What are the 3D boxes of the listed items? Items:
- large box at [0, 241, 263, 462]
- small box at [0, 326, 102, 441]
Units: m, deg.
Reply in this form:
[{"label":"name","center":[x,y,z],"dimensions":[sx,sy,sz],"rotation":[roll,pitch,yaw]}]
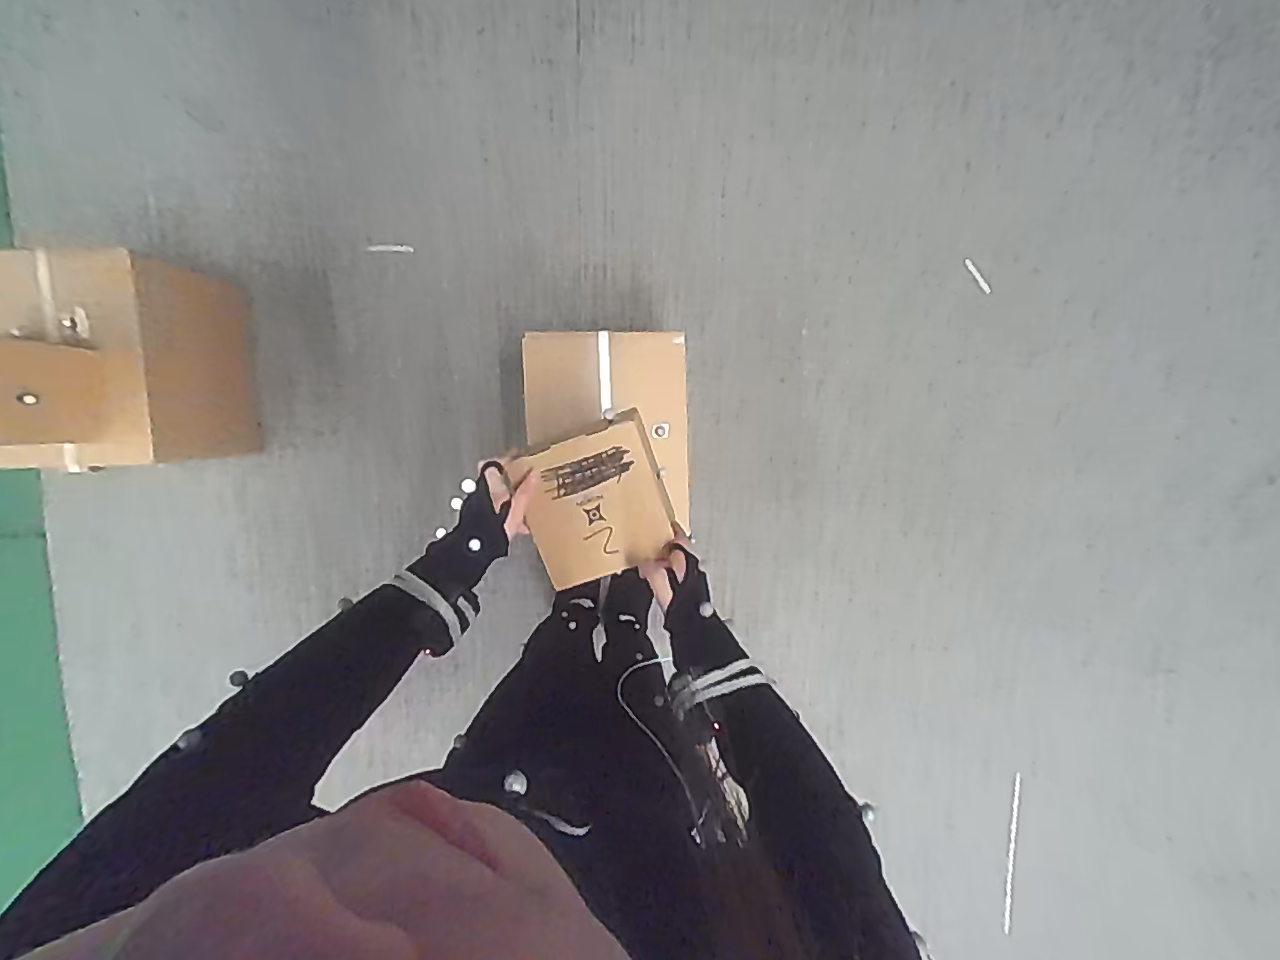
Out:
[{"label":"large box","center":[-1.078,-0.252,1.158],"dimensions":[0.320,0.320,0.408],"rotation":[-1,96,-1]},{"label":"small box","center":[-1.081,-0.170,0.923],"dimensions":[0.168,0.176,0.179],"rotation":[10,97,-2]}]
